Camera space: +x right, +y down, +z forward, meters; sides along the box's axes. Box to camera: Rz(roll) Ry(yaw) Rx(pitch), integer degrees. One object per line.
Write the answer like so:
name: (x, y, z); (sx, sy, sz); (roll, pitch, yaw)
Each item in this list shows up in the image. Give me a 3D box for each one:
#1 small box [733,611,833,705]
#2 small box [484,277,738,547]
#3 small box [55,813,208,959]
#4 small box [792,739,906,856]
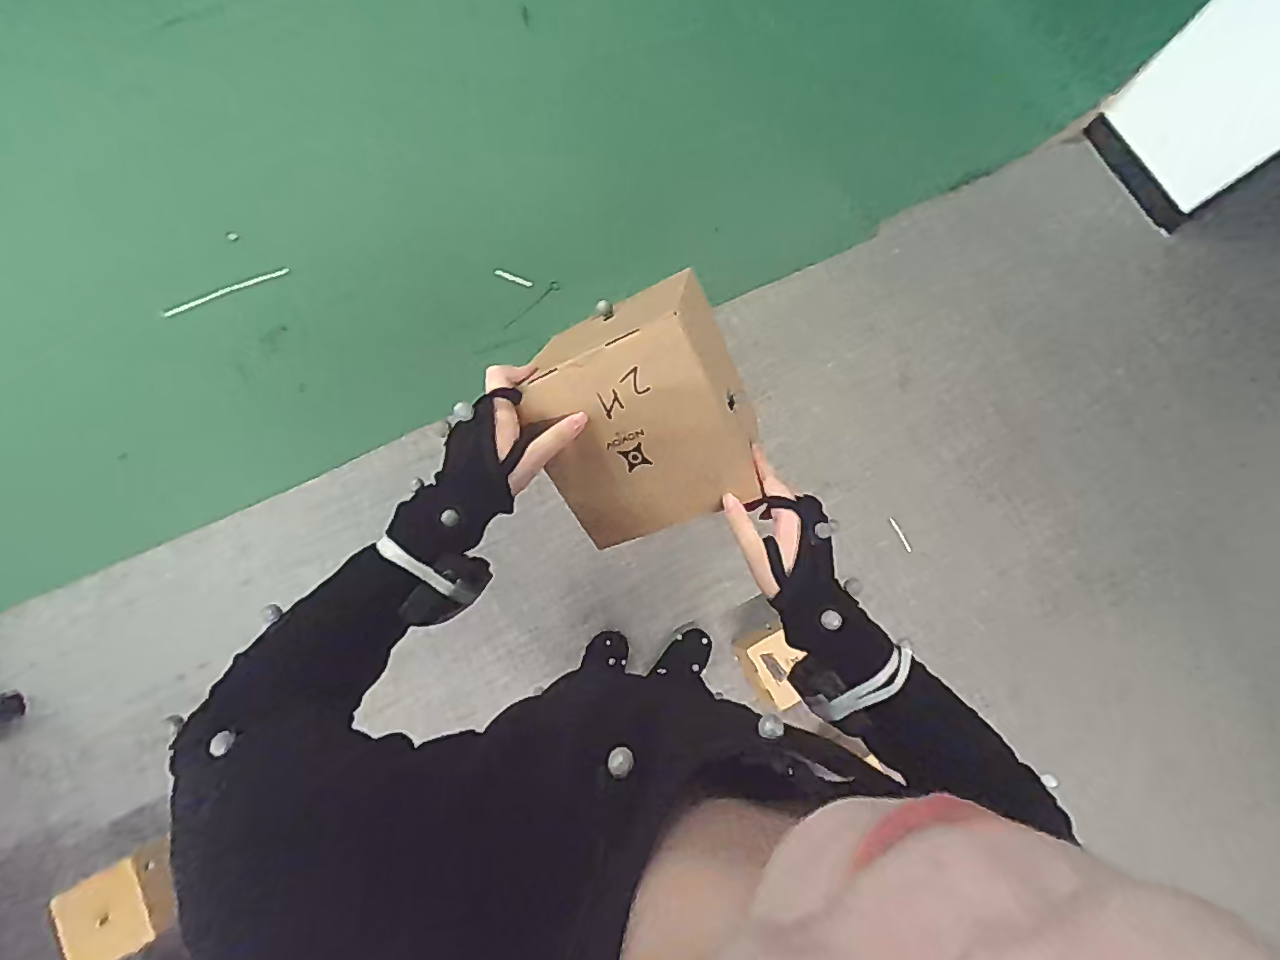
small box: (0.358, 0.454, 1.401); (0.179, 0.176, 0.168); (-26, 81, -9)
small box: (-0.010, -0.070, 0.526); (0.168, 0.176, 0.179); (-21, 115, 20)
small box: (-1.129, 0.900, 1.217); (0.168, 0.176, 0.179); (-27, 80, -9)
small box: (0.507, 0.770, 1.342); (0.168, 0.176, 0.179); (-29, 81, -8)
